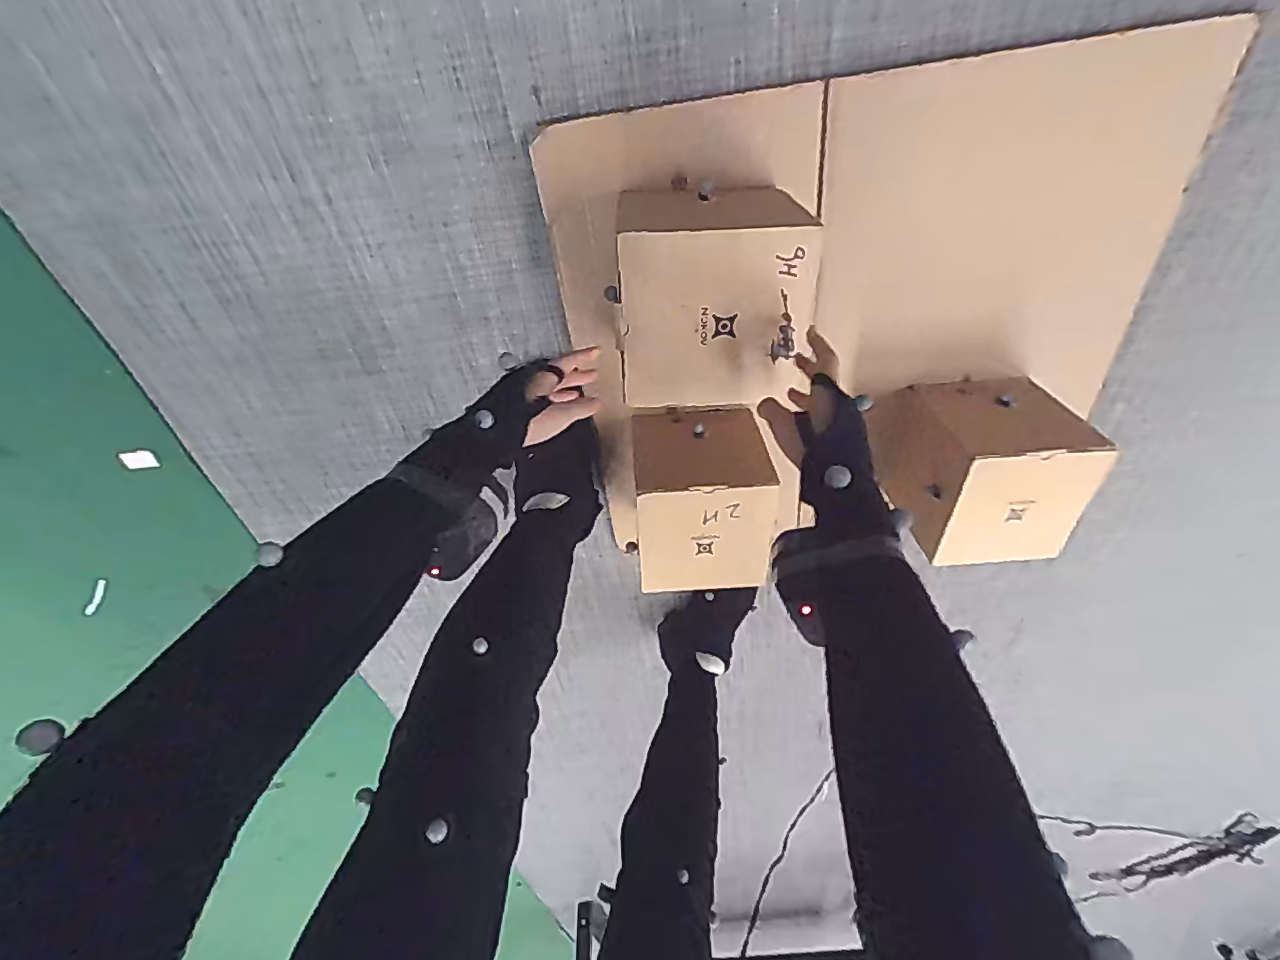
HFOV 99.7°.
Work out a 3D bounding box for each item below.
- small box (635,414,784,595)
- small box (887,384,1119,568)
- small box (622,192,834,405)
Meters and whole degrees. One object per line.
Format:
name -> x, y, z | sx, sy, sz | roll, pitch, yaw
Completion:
small box -> 0.080, 0.030, 0.722 | 0.168, 0.176, 0.179 | -3, 127, -1
small box -> 0.449, -0.007, 0.709 | 0.168, 0.176, 0.179 | -4, 127, -1
small box -> 0.073, -0.189, 0.555 | 0.179, 0.176, 0.168 | -1, 127, -1
